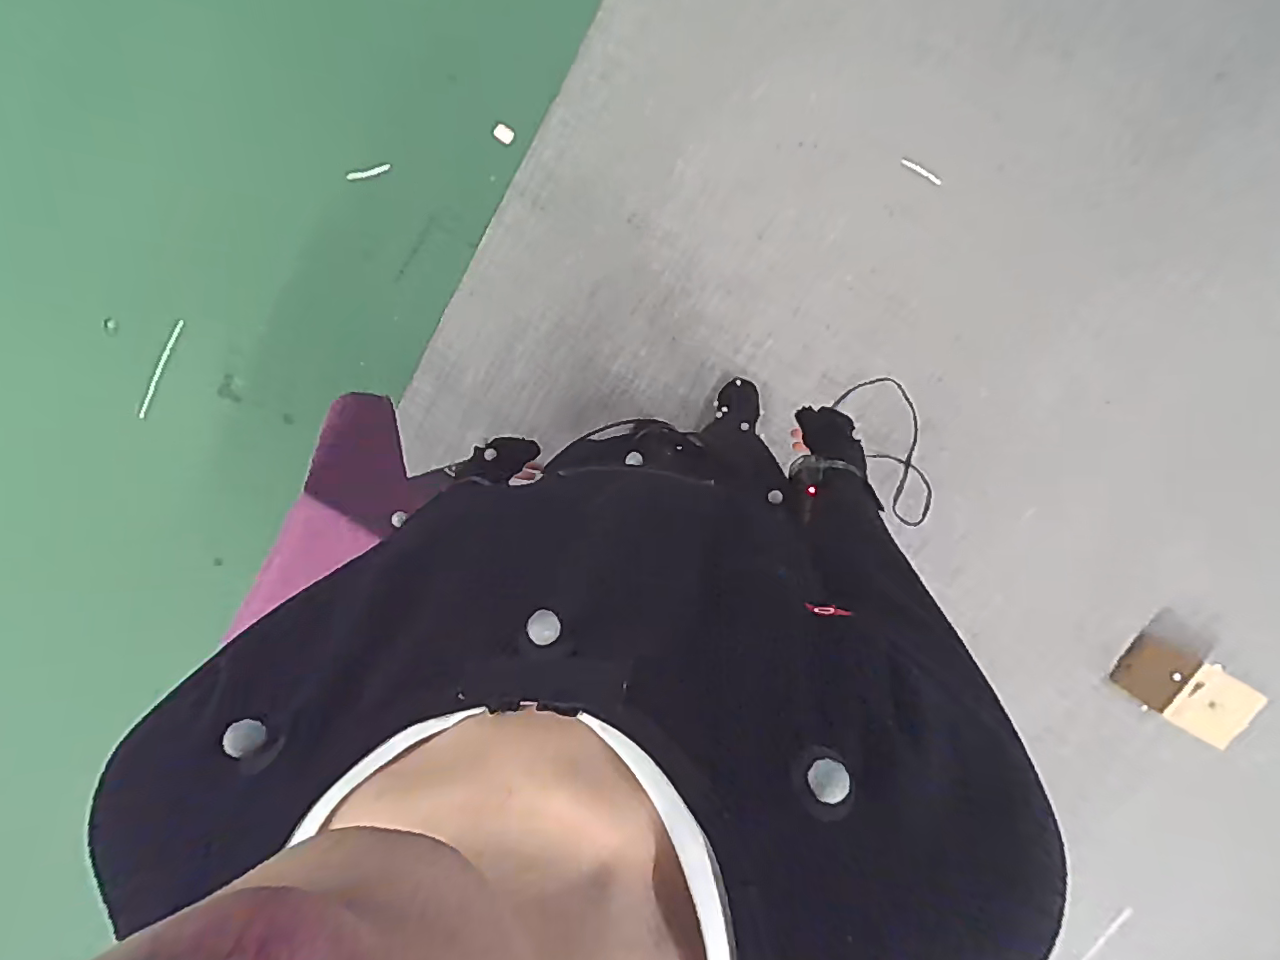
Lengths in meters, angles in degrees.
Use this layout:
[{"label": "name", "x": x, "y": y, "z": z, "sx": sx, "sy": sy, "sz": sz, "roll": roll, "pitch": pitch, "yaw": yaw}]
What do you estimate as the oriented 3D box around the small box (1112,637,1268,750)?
[{"label": "small box", "x": 1.371, "y": 0.527, "z": 1.362, "sx": 0.179, "sy": 0.176, "sz": 0.168, "roll": 30, "pitch": 99, "yaw": -1}]
